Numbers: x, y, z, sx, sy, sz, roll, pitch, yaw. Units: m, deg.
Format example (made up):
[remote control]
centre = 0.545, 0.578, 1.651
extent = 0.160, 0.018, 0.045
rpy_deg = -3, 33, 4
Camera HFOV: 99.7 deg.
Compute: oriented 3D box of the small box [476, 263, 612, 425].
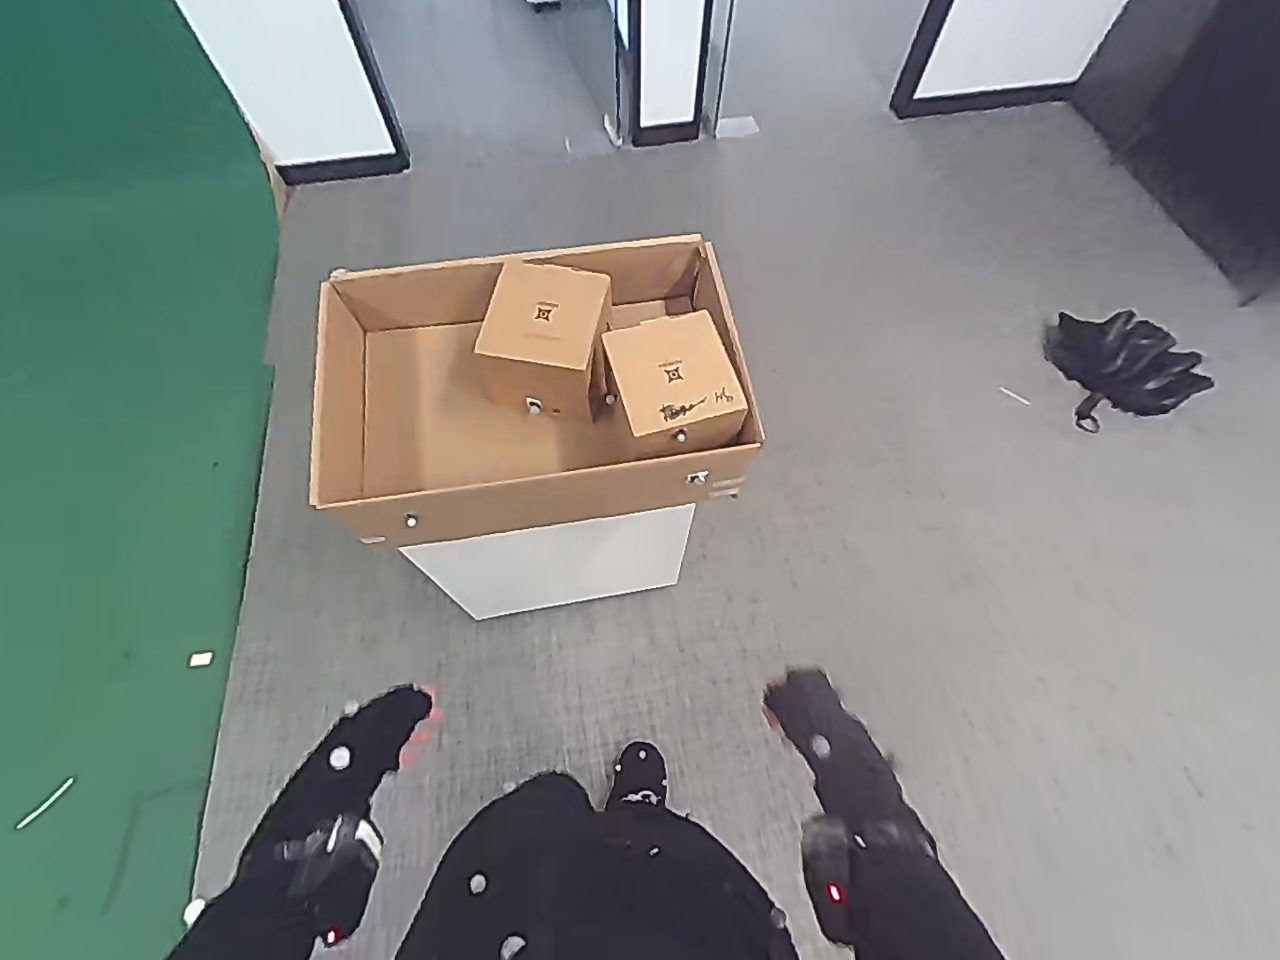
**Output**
[small box]
centre = -0.142, -0.213, 0.873
extent = 0.168, 0.176, 0.179
rpy_deg = 10, 70, 3
